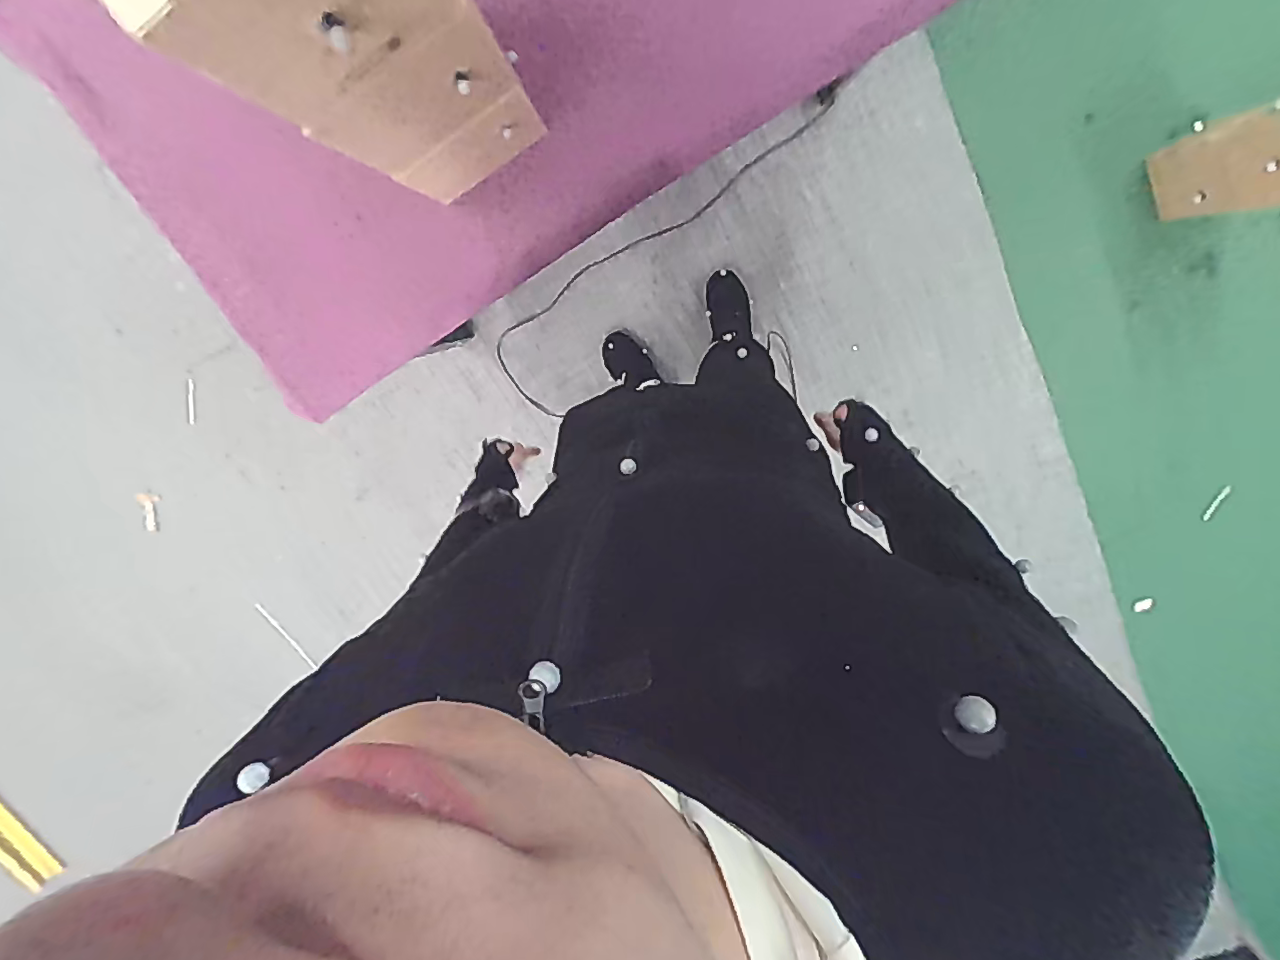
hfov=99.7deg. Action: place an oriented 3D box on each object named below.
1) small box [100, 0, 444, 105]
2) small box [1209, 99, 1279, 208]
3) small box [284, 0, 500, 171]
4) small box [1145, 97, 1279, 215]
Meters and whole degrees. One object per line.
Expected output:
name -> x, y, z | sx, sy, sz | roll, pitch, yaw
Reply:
small box -> -0.258, -0.379, 0.342 | 0.168, 0.176, 0.179 | -31, 105, 10
small box -> 1.360, -0.691, 1.122 | 0.168, 0.176, 0.179 | -31, 104, 12
small box -> -0.250, -0.425, 0.498 | 0.179, 0.176, 0.168 | -29, 105, 11
small box -> 1.359, -0.748, 1.274 | 0.168, 0.176, 0.179 | -28, 106, 11
